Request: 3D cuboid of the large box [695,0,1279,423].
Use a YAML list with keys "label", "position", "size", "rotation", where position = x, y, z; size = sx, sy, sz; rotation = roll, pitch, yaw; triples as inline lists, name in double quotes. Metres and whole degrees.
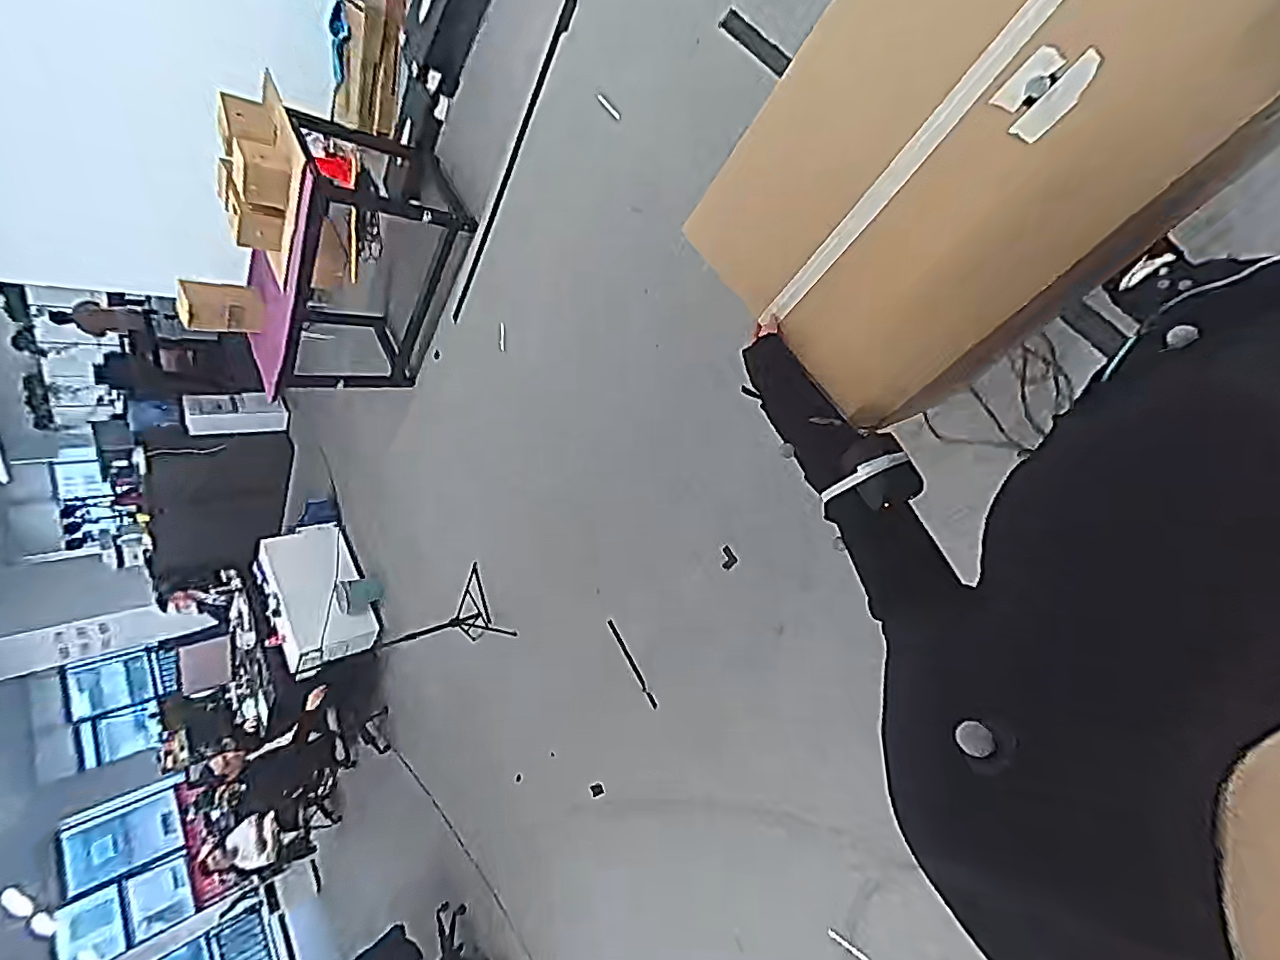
- label: "large box"
  position: [0.342, -0.314, 0.575]
  size: [0.320, 0.320, 0.408]
  rotation: [54, 128, 16]
